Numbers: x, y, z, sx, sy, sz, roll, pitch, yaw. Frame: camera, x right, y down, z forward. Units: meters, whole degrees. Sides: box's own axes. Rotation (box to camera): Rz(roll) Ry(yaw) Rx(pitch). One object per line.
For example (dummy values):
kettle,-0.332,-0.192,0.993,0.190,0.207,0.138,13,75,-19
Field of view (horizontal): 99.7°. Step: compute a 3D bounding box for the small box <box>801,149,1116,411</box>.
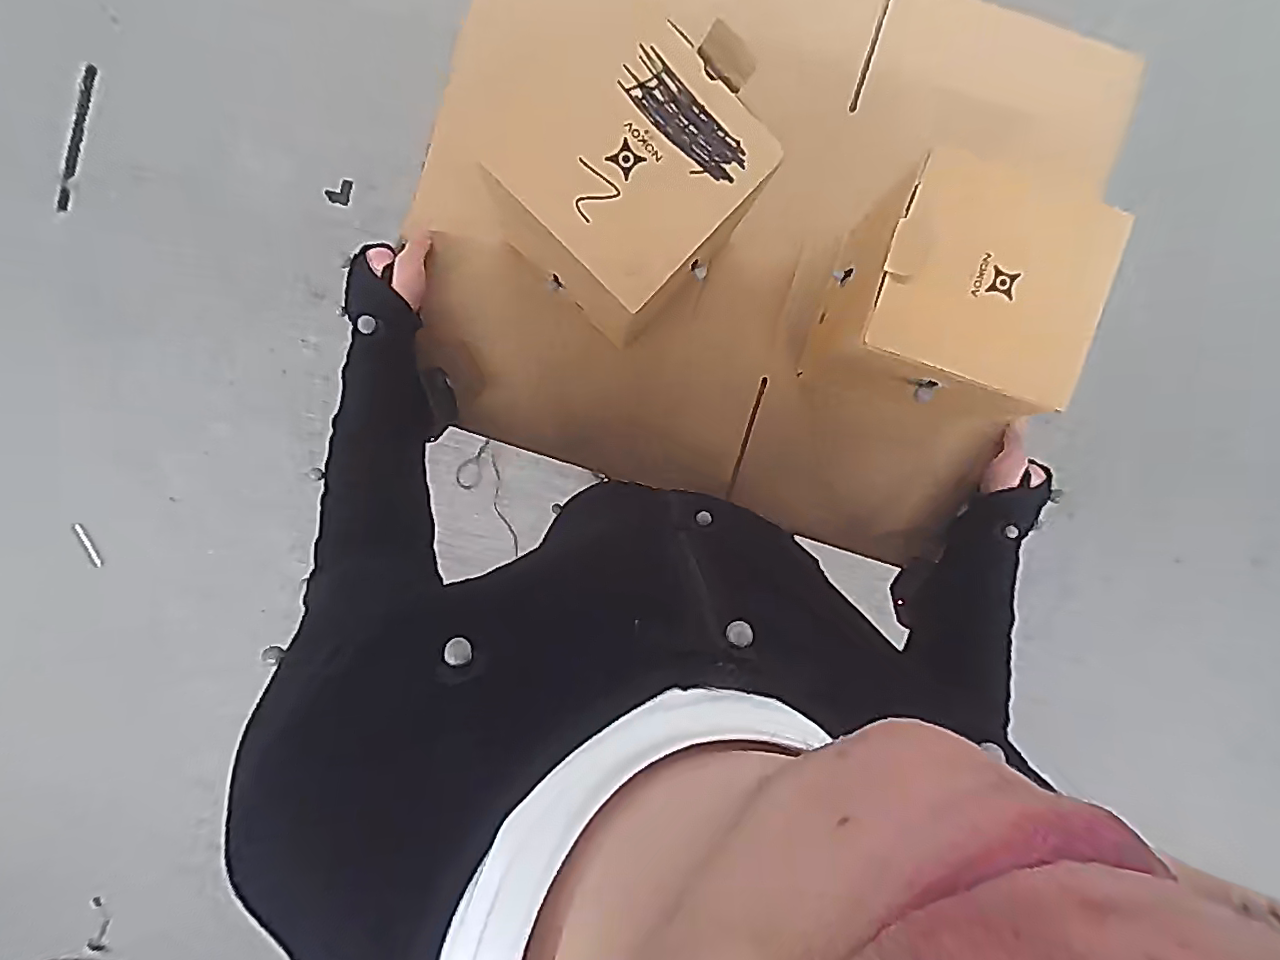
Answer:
small box,0.284,-0.171,0.525,0.179,0.176,0.168,18,91,-1
